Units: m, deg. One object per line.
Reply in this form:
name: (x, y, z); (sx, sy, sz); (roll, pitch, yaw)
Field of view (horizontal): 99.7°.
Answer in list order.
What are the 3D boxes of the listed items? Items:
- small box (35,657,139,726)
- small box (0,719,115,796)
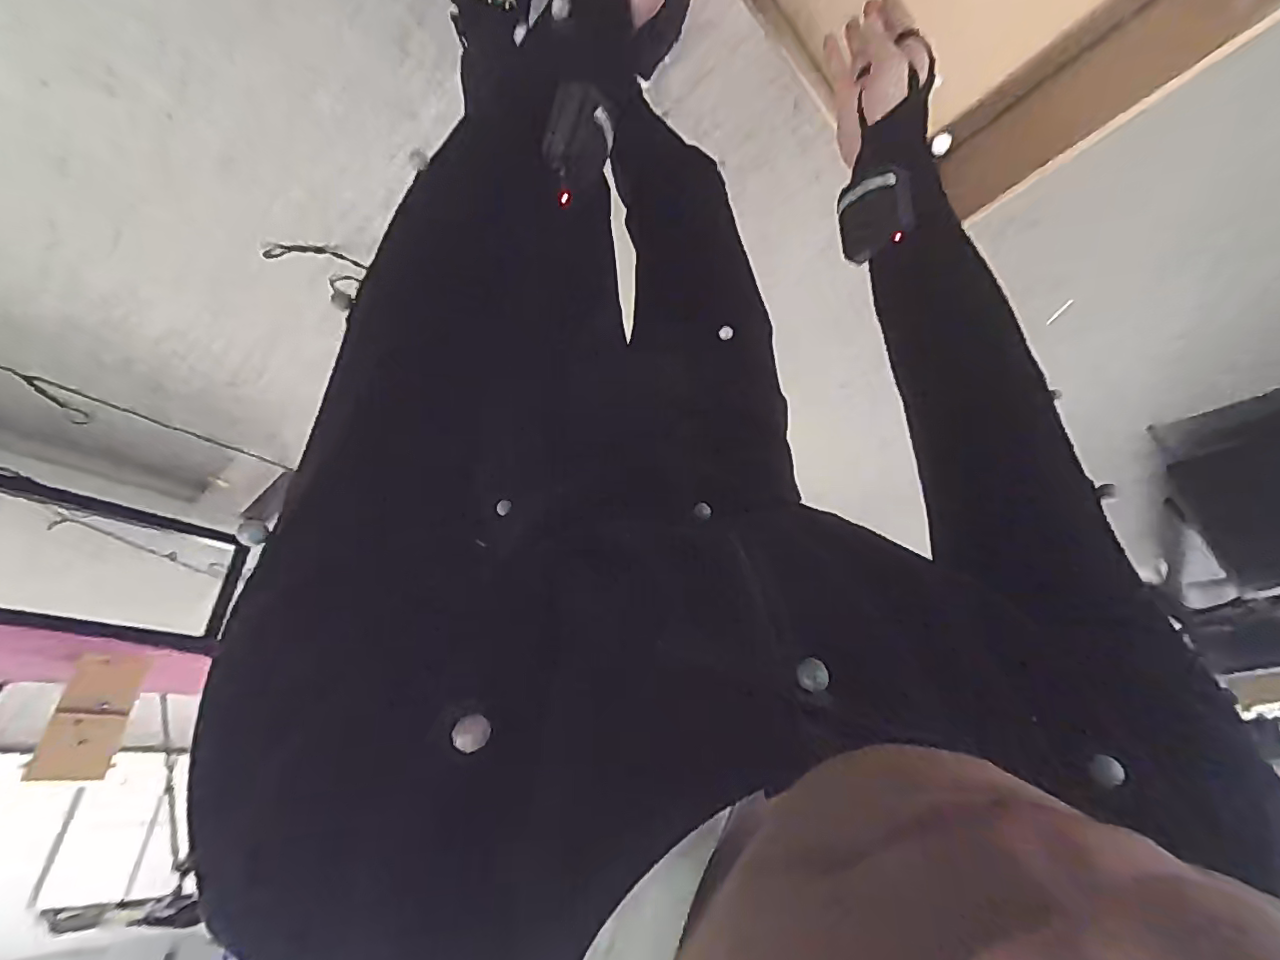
small box: (-1.607, 0.626, 1.575); (0.168, 0.176, 0.179); (25, 139, -38)
small box: (-1.587, 0.758, 1.477); (0.179, 0.176, 0.168); (-30, 139, 35)
